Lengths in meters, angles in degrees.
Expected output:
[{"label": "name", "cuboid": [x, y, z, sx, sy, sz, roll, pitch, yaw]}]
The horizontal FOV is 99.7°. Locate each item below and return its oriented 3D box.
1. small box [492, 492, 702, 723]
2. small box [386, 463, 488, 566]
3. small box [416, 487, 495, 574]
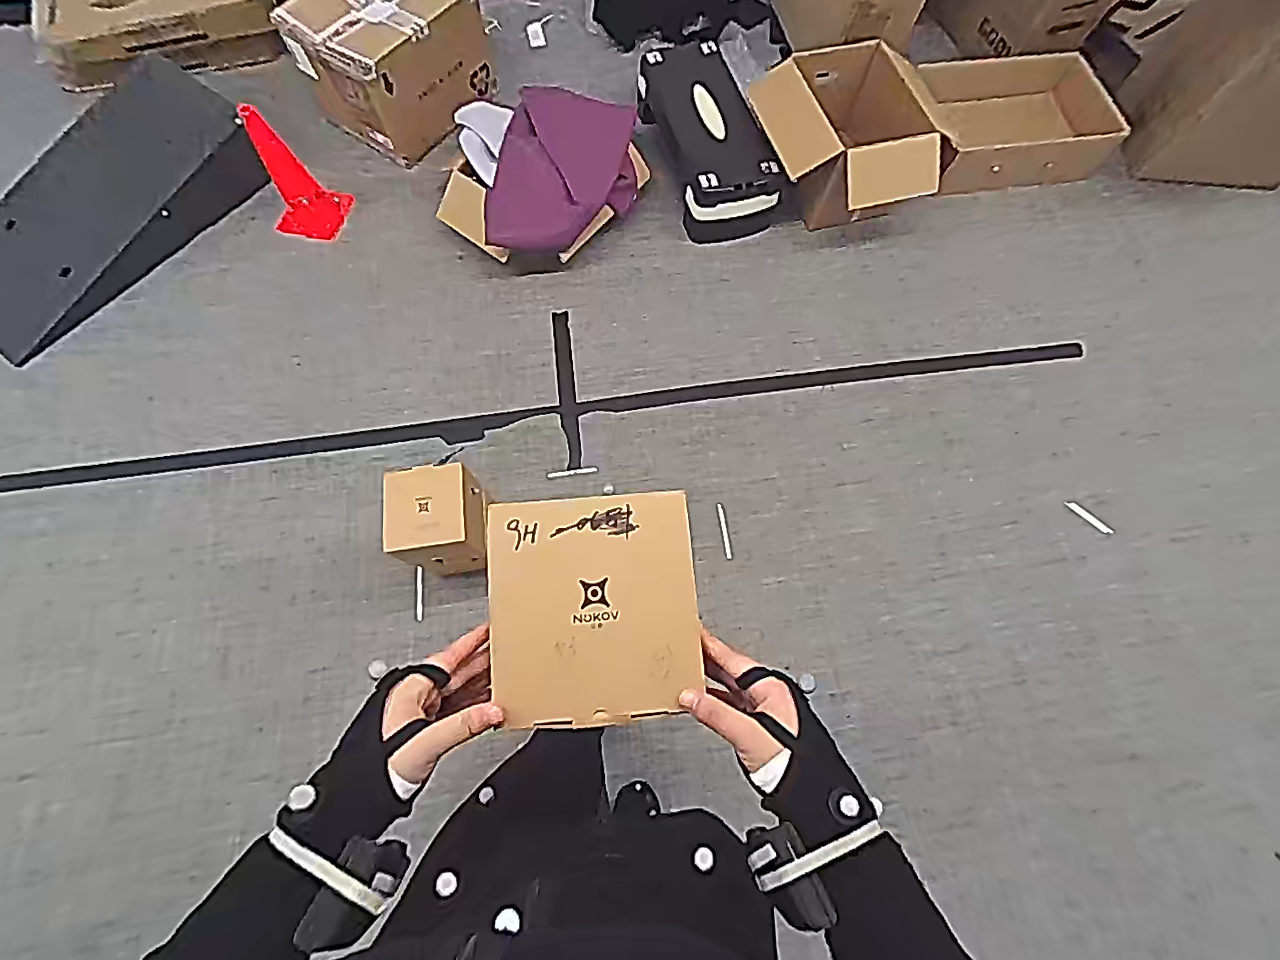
[{"label": "small box", "cuboid": [-0.038, 0.113, 0.515, 0.168, 0.176, 0.179, -4, 79, -3]}, {"label": "small box", "cuboid": [-0.442, 0.081, 1.191, 0.168, 0.176, 0.179, -9, 72, -3]}, {"label": "small box", "cuboid": [-0.444, 0.130, 1.346, 0.179, 0.176, 0.168, -9, 71, -4]}]
